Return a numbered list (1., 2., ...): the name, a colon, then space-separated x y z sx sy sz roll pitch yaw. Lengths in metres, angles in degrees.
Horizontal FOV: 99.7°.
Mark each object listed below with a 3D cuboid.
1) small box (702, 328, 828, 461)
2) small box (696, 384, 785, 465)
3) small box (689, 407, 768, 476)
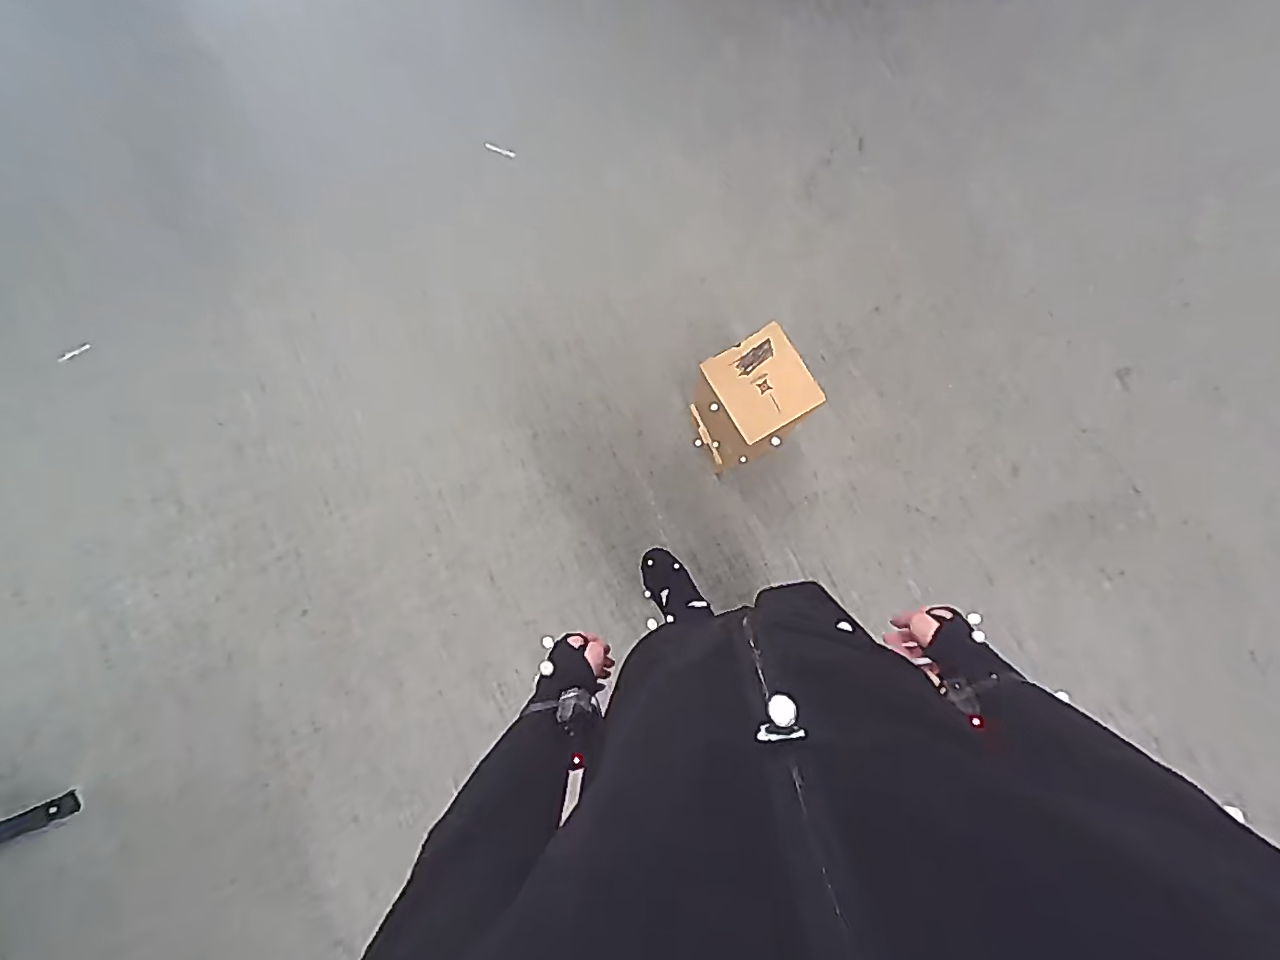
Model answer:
1. small box: 0.229 -0.155 1.045 0.168 0.176 0.179 -27 82 0
2. small box: 0.236 -0.144 1.212 0.168 0.176 0.179 -25 81 -2
3. small box: 0.237 -0.125 1.392 0.179 0.176 0.168 -27 81 -1
